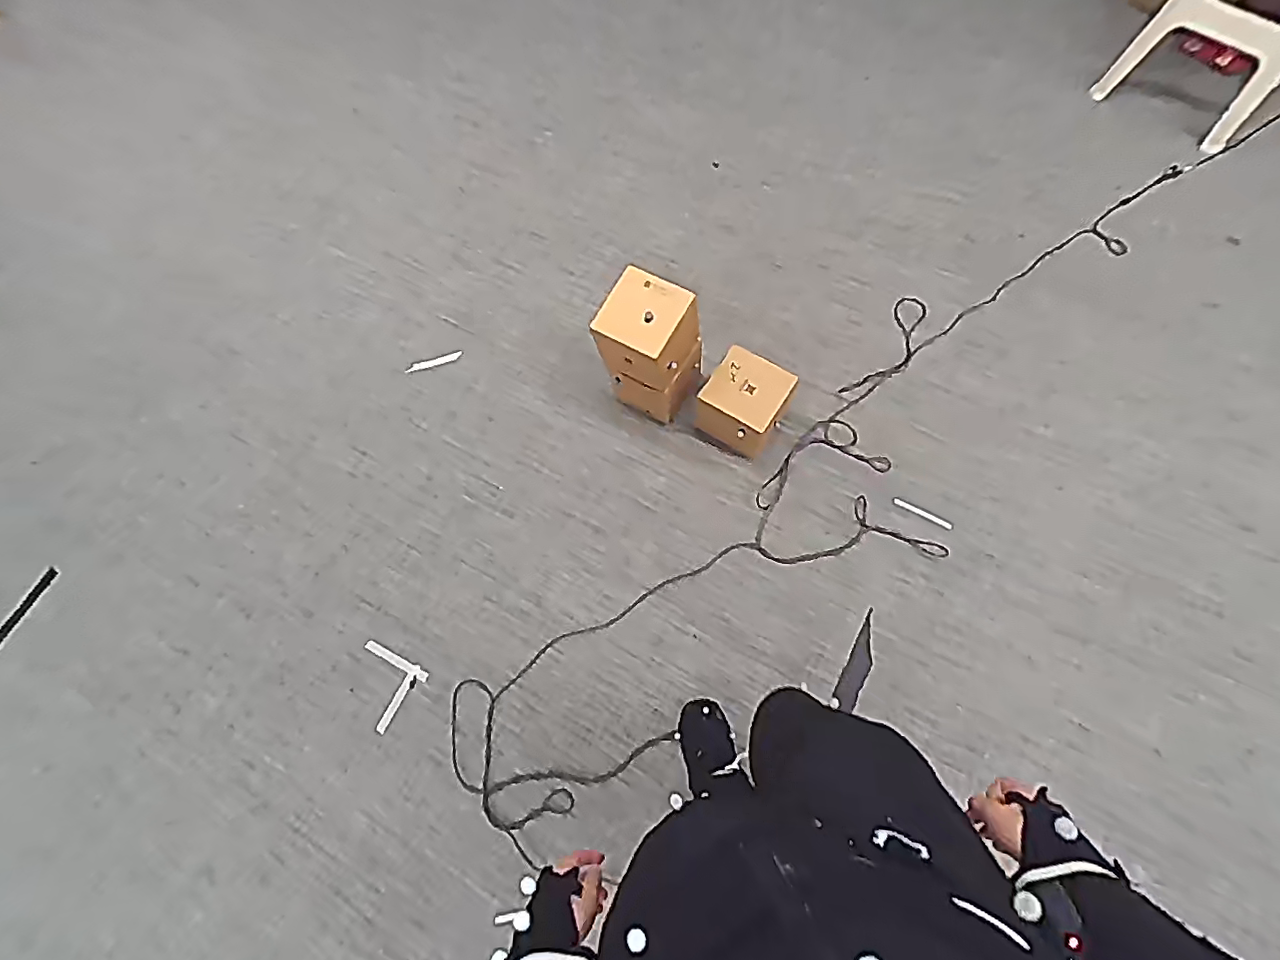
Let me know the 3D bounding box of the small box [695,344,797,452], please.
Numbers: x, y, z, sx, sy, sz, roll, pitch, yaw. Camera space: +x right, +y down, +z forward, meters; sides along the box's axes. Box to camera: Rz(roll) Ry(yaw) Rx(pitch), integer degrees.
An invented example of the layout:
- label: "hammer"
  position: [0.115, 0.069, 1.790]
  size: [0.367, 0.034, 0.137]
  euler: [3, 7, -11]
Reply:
- label: "small box"
  position: [0.248, -0.187, 1.304]
  size: [0.179, 0.176, 0.168]
  euler: [32, 76, 14]
